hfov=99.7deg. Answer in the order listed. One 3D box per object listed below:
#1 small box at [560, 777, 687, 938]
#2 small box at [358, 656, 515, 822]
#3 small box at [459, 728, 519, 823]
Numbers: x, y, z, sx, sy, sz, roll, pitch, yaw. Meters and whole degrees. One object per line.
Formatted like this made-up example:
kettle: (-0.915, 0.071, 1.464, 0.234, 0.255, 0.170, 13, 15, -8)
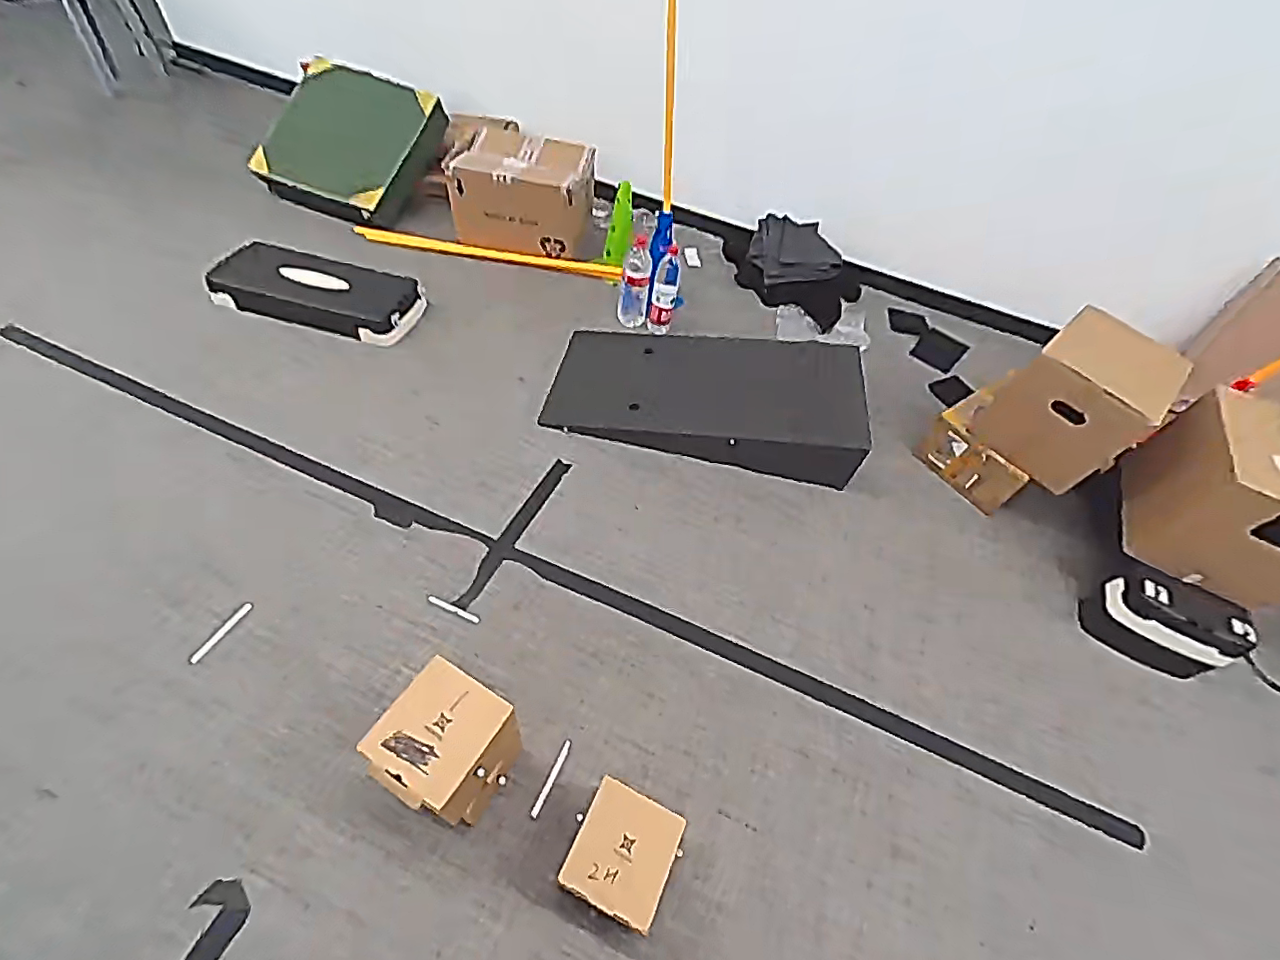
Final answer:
small box: (-0.035, 0.676, 0.974, 0.168, 0.176, 0.179, 25, 53, 11)
small box: (-0.323, 0.436, 0.904, 0.168, 0.176, 0.179, 29, 53, 13)
small box: (-0.346, 0.531, 1.037, 0.179, 0.176, 0.168, 26, 53, 9)
